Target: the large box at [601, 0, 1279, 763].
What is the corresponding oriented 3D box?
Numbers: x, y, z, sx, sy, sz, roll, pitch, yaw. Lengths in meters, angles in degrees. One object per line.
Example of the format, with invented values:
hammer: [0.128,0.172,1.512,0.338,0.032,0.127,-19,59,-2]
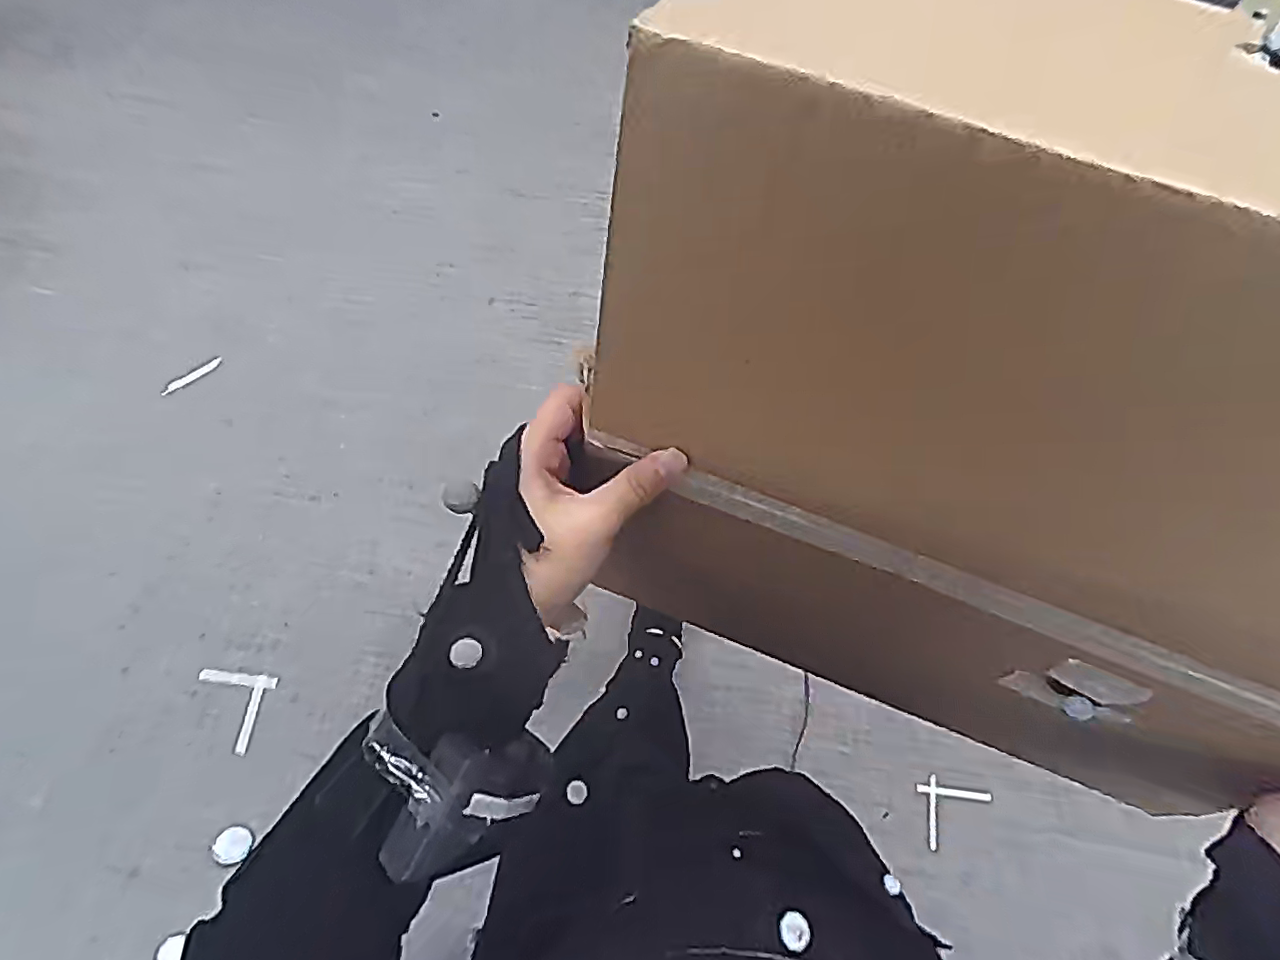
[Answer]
large box: [0.223,-0.092,0.319,0.408,0.320,0.320,20,54,5]
